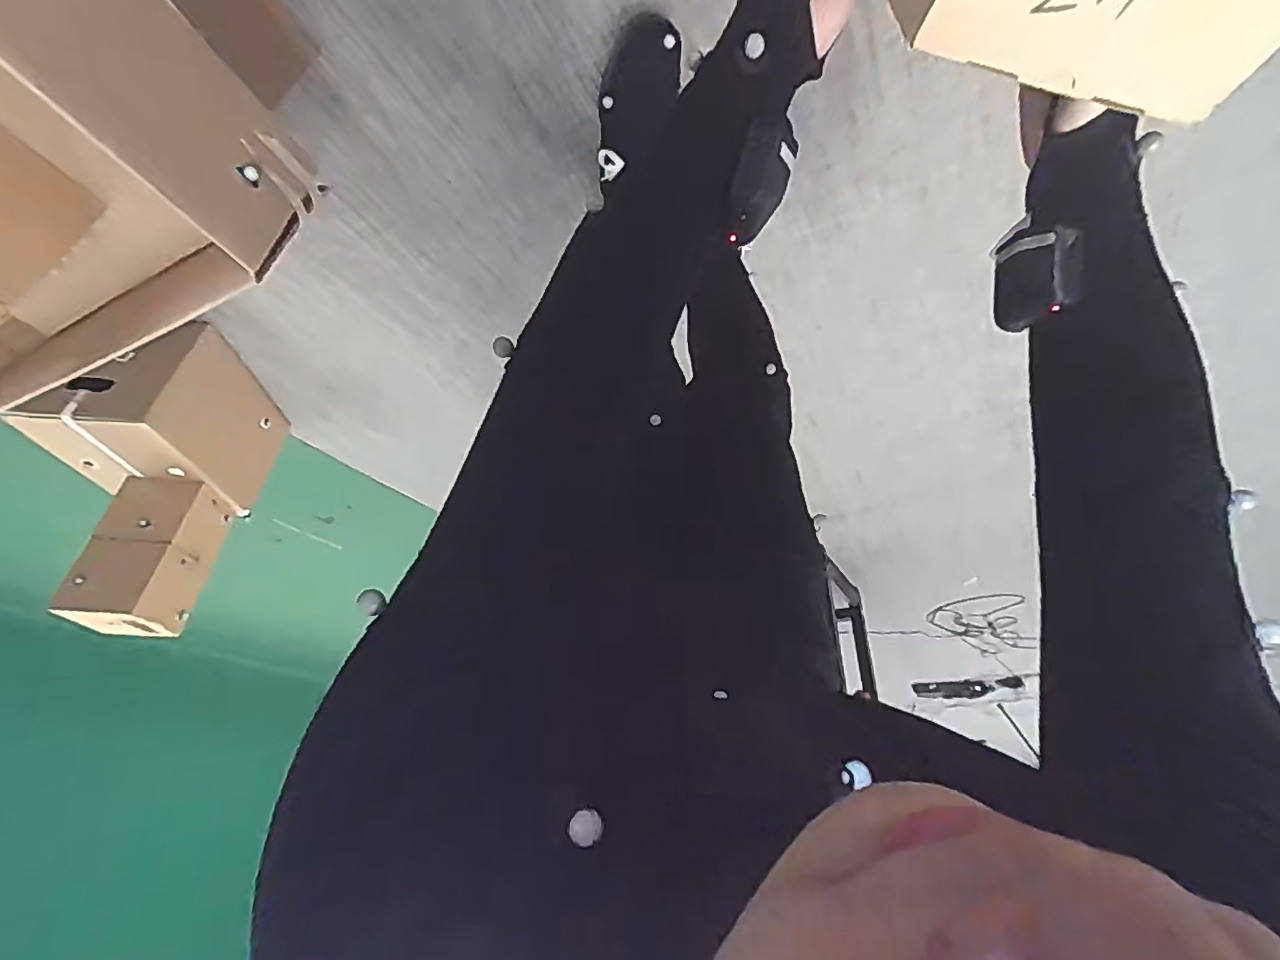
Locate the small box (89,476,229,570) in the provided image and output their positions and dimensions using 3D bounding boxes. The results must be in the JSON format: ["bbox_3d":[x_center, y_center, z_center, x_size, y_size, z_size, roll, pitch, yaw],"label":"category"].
[{"bbox_3d":[-1.146,0.105,1.313,0.179,0.176,0.168,6,147,-5],"label":"small box"}]

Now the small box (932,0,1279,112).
[{"bbox_3d":[0.233,-0.312,0.236,0.168,0.176,0.179,9,149,-8],"label":"small box"}]
